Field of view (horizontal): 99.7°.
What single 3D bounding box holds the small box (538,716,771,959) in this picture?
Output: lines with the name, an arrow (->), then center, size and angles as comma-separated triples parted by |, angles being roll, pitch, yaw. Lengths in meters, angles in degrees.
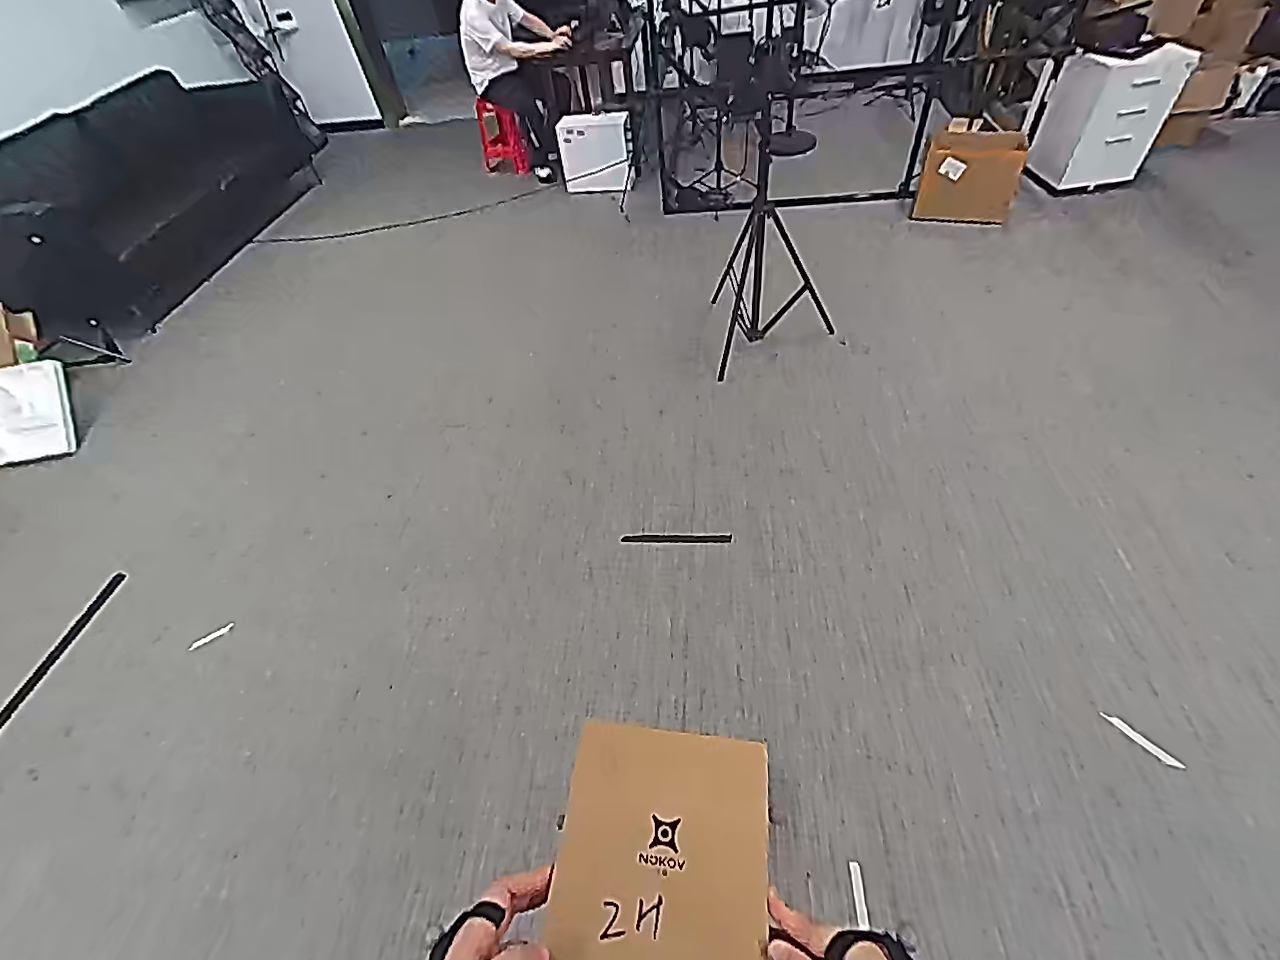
small box -> 0.025, 0.338, 0.483 | 0.168, 0.176, 0.179 | 3, 49, 10
